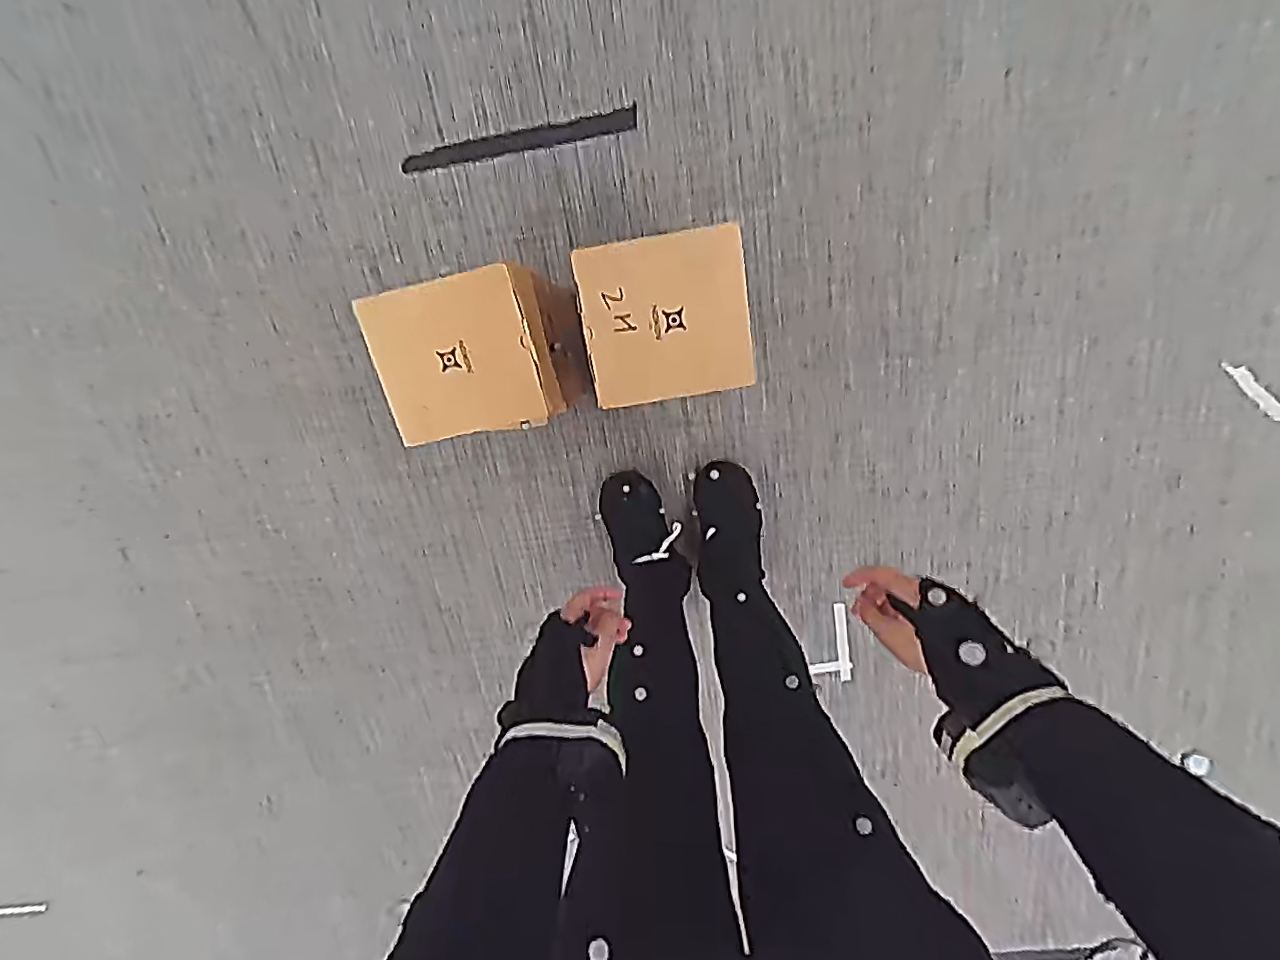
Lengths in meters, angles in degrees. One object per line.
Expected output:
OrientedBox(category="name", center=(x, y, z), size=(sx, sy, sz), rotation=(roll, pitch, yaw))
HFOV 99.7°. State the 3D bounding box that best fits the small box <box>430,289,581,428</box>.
OrientedBox(category="small box", center=(-0.189, -0.187, 0.817), size=(0.168, 0.176, 0.179), rotation=(-6, 106, 3))
